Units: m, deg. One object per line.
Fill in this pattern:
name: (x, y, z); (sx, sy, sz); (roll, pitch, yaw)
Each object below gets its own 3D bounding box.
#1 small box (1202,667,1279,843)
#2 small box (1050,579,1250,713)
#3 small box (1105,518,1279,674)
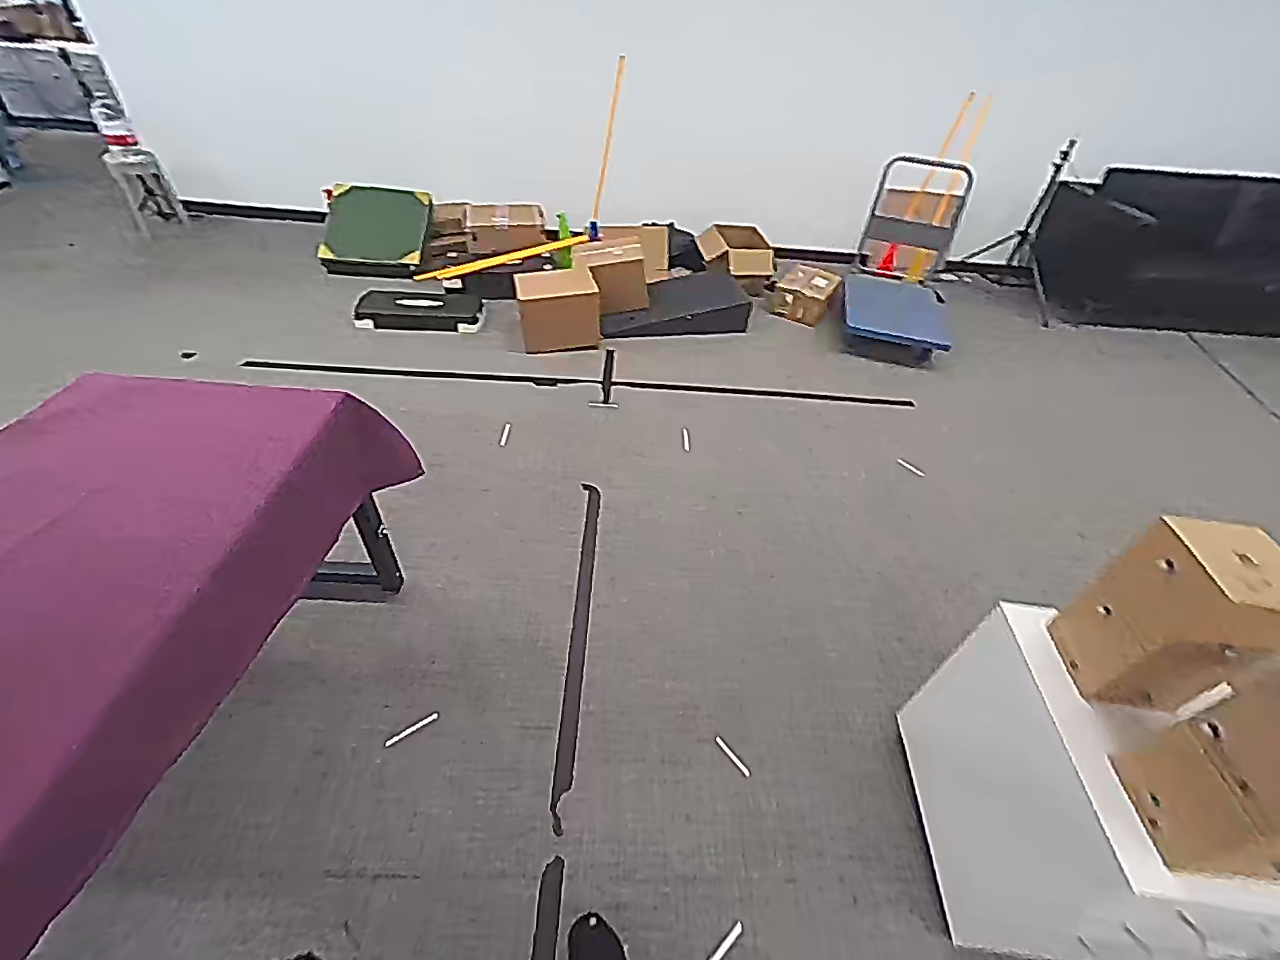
small box: (0.905, 0.367, 0.700); (0.179, 0.176, 0.168); (7, 43, 0)
small box: (0.923, 0.311, 1.002); (0.179, 0.176, 0.168); (9, 43, 1)
small box: (0.933, 0.190, 0.890); (0.168, 0.176, 0.179); (7, 43, 2)
